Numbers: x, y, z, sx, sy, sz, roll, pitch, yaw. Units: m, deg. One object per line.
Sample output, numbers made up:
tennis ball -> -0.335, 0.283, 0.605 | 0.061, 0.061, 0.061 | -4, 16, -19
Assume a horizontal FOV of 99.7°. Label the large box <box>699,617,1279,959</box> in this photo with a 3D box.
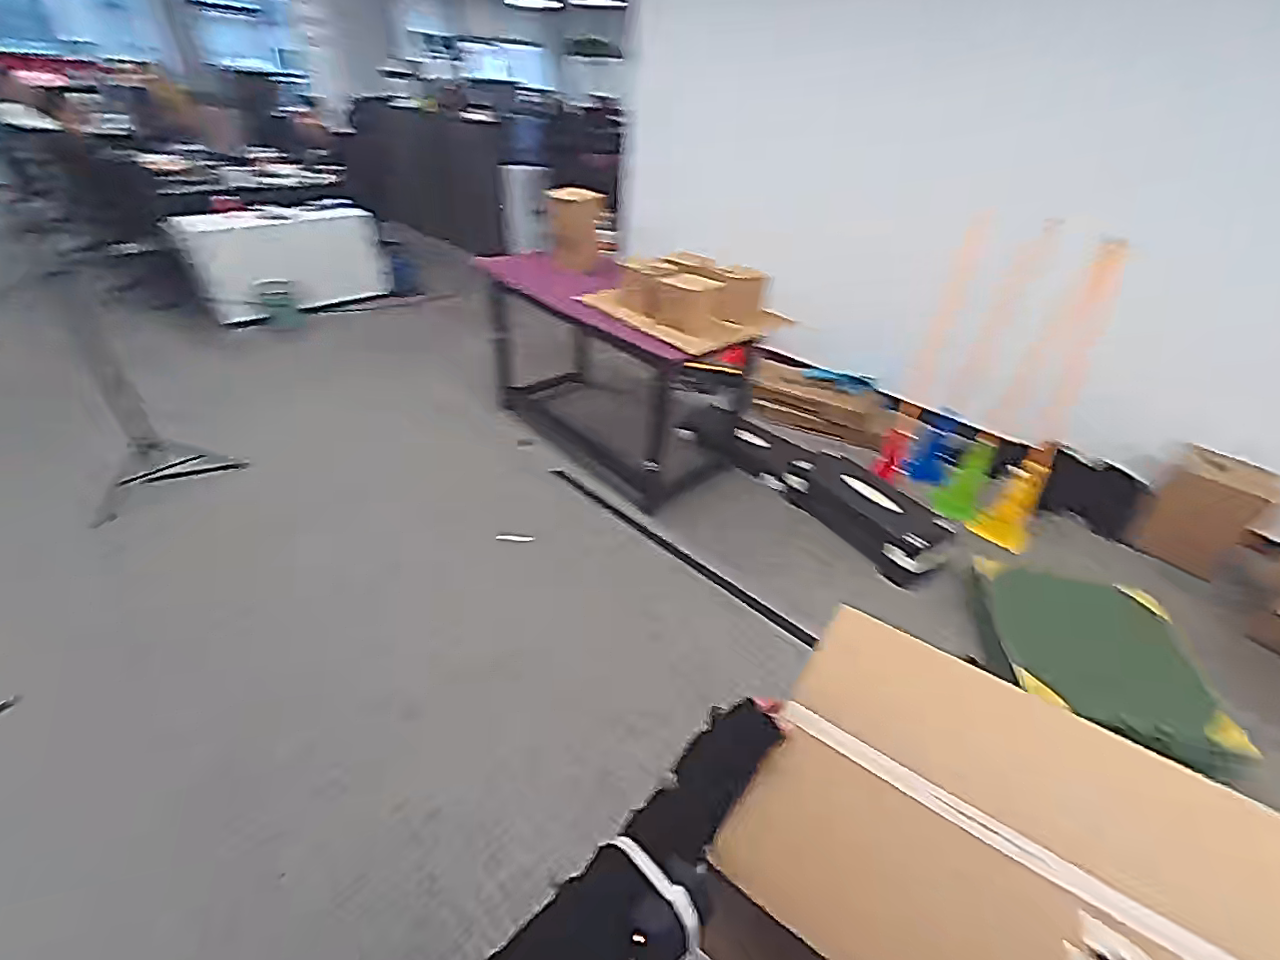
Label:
large box -> 0.312, 0.422, 0.547 | 0.408, 0.320, 0.320 | 25, 47, 27
